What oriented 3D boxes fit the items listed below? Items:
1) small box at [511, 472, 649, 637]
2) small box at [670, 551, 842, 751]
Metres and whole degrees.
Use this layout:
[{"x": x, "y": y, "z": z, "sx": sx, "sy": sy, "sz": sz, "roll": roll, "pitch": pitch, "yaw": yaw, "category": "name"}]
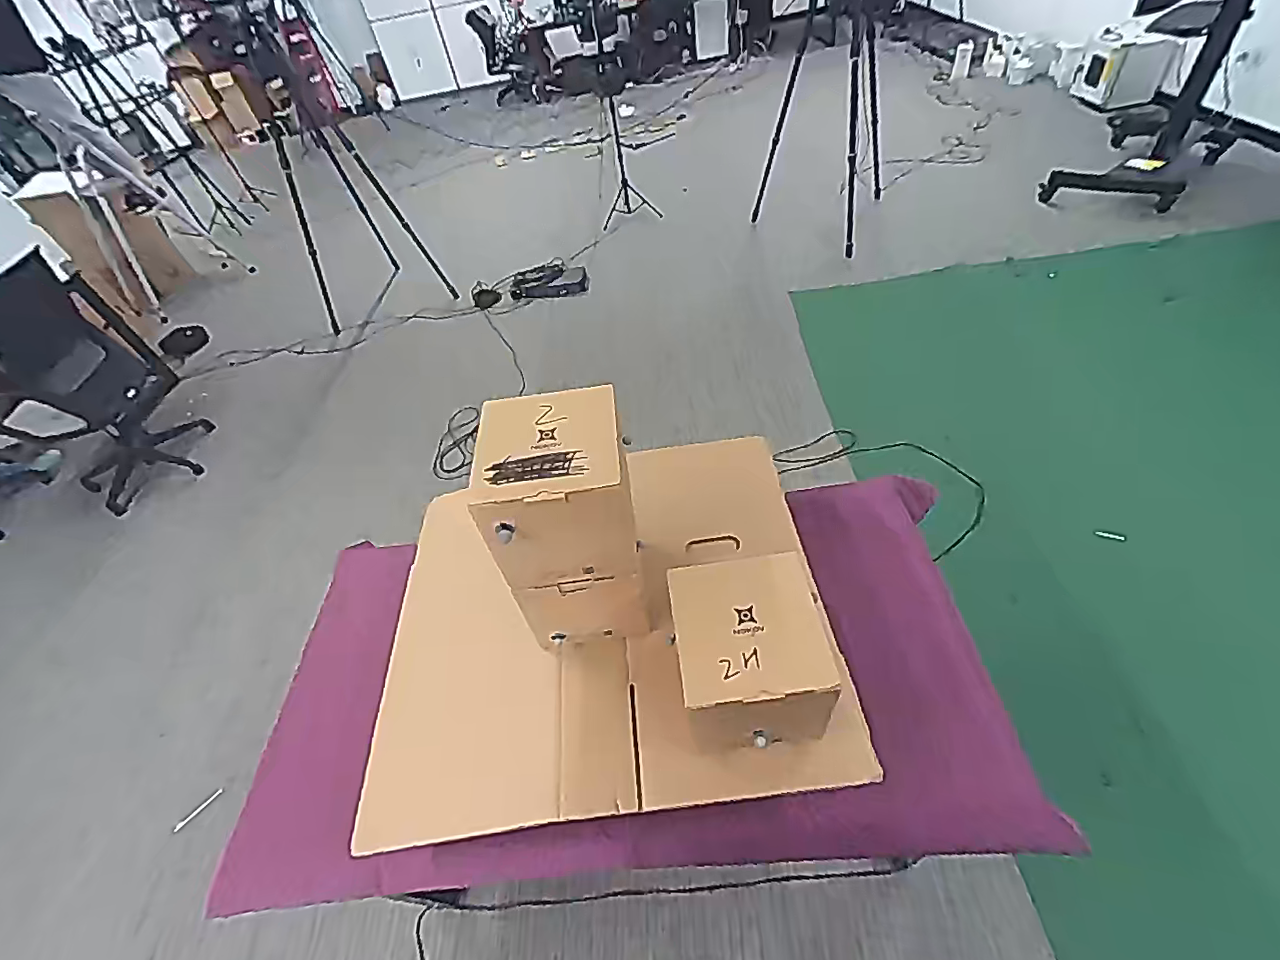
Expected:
[{"x": -0.081, "y": 0.116, "z": 0.791, "sx": 0.168, "sy": 0.176, "sz": 0.179, "roll": -8, "pitch": 47, "yaw": 1, "category": "small box"}, {"x": 0.131, "y": 0.213, "z": 0.672, "sx": 0.168, "sy": 0.176, "sz": 0.179, "roll": -8, "pitch": 48, "yaw": 2, "category": "small box"}]
